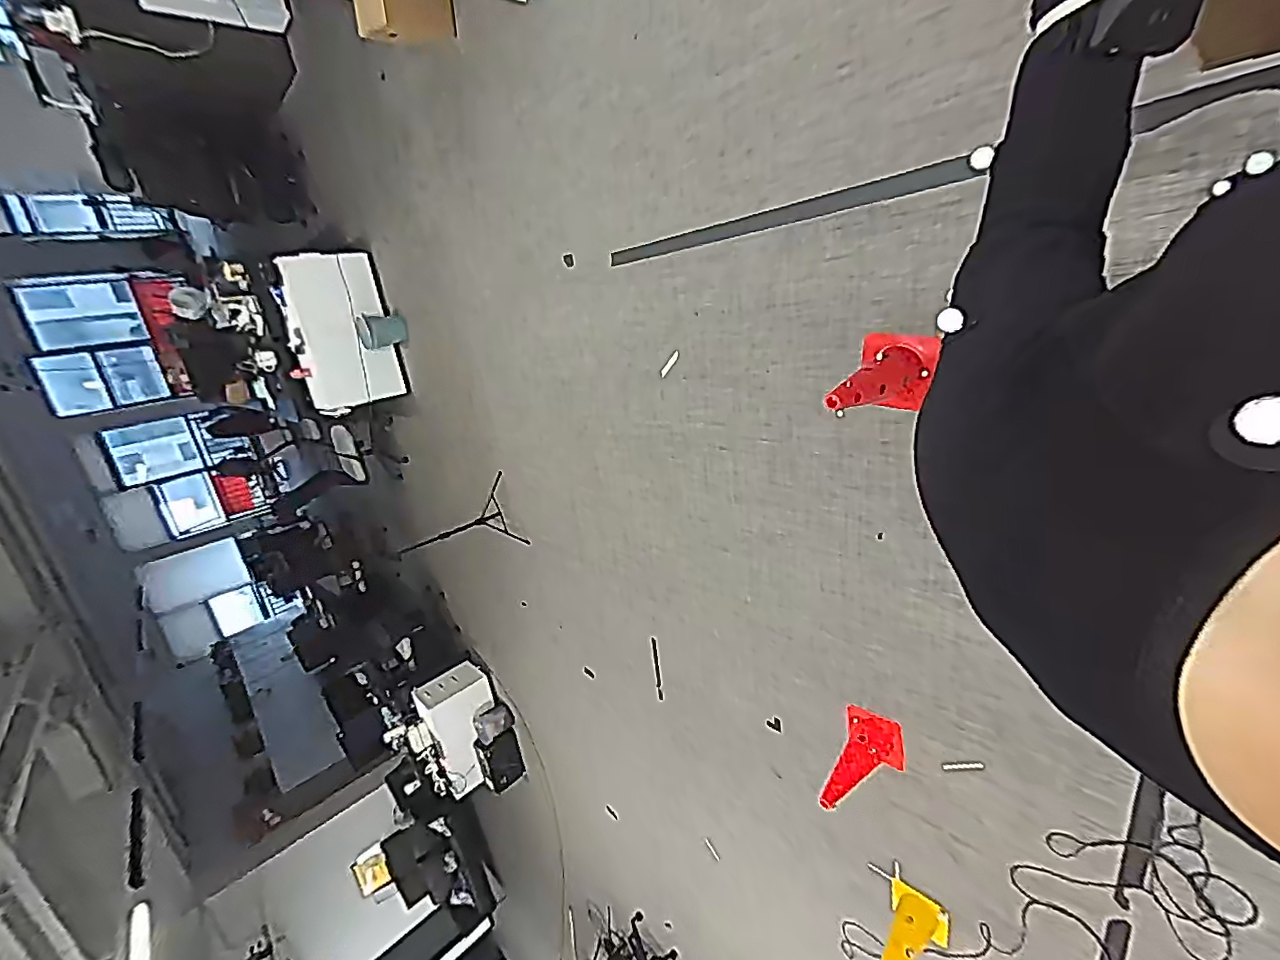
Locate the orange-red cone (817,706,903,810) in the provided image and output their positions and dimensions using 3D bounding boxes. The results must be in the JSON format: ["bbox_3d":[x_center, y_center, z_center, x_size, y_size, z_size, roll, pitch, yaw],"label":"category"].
[{"bbox_3d":[0.705,0.968,1.811,0.198,0.360,0.199,9,116,48],"label":"orange-red cone"}]

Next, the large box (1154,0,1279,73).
[{"bbox_3d":[0.554,-0.473,0.259,0.408,0.320,0.320,14,118,46],"label":"large box"}]

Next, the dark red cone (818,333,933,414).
[{"bbox_3d":[0.553,-0.234,1.338,0.201,0.394,0.202,18,122,43],"label":"dark red cone"}]
